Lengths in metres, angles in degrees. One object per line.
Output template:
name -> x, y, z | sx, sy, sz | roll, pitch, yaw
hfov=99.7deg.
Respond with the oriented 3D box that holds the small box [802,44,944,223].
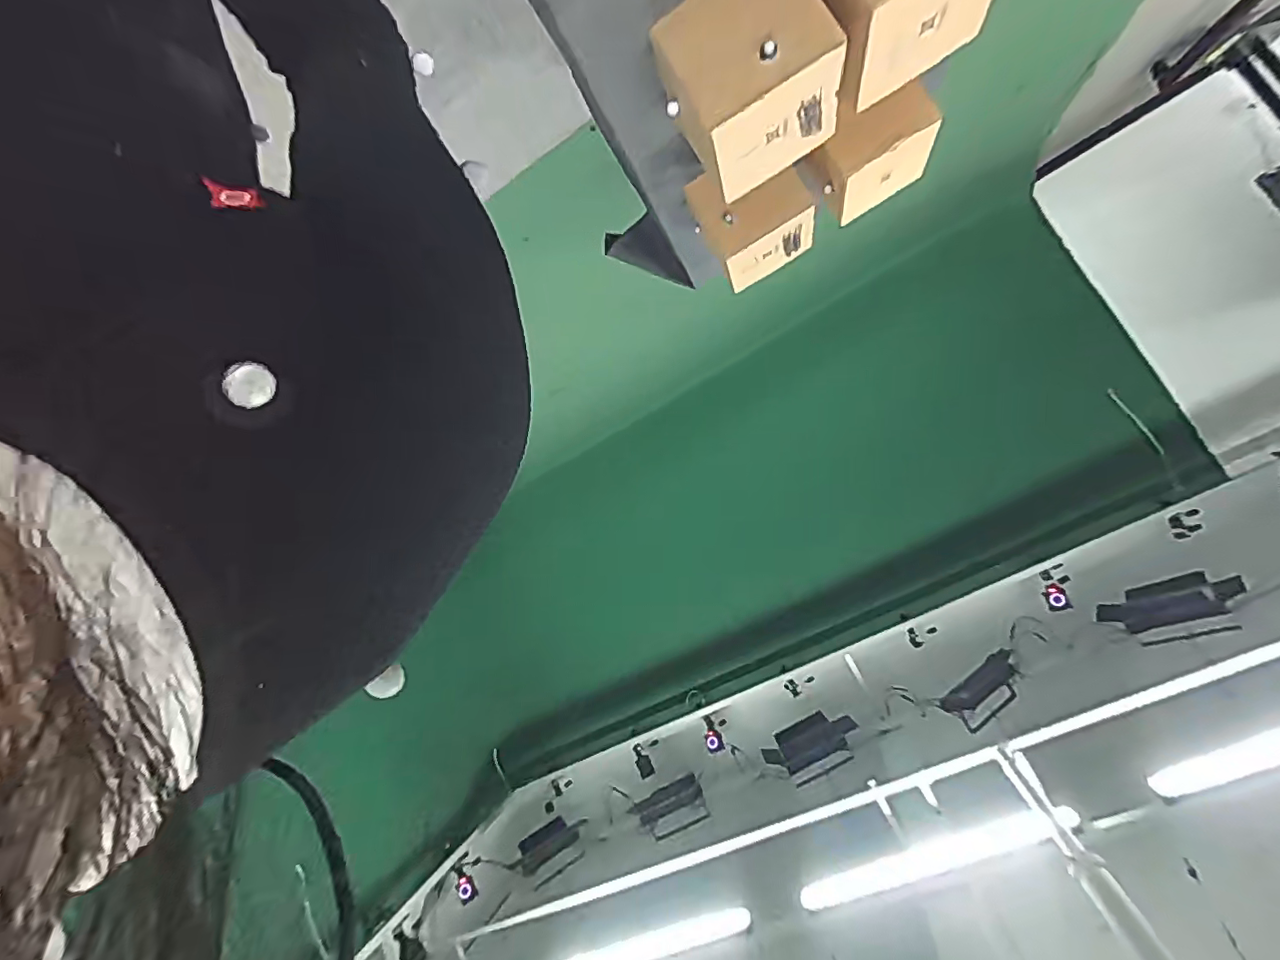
small box -> 0.404, -0.612, 0.970 | 0.168, 0.176, 0.179 | -30, 170, 15
